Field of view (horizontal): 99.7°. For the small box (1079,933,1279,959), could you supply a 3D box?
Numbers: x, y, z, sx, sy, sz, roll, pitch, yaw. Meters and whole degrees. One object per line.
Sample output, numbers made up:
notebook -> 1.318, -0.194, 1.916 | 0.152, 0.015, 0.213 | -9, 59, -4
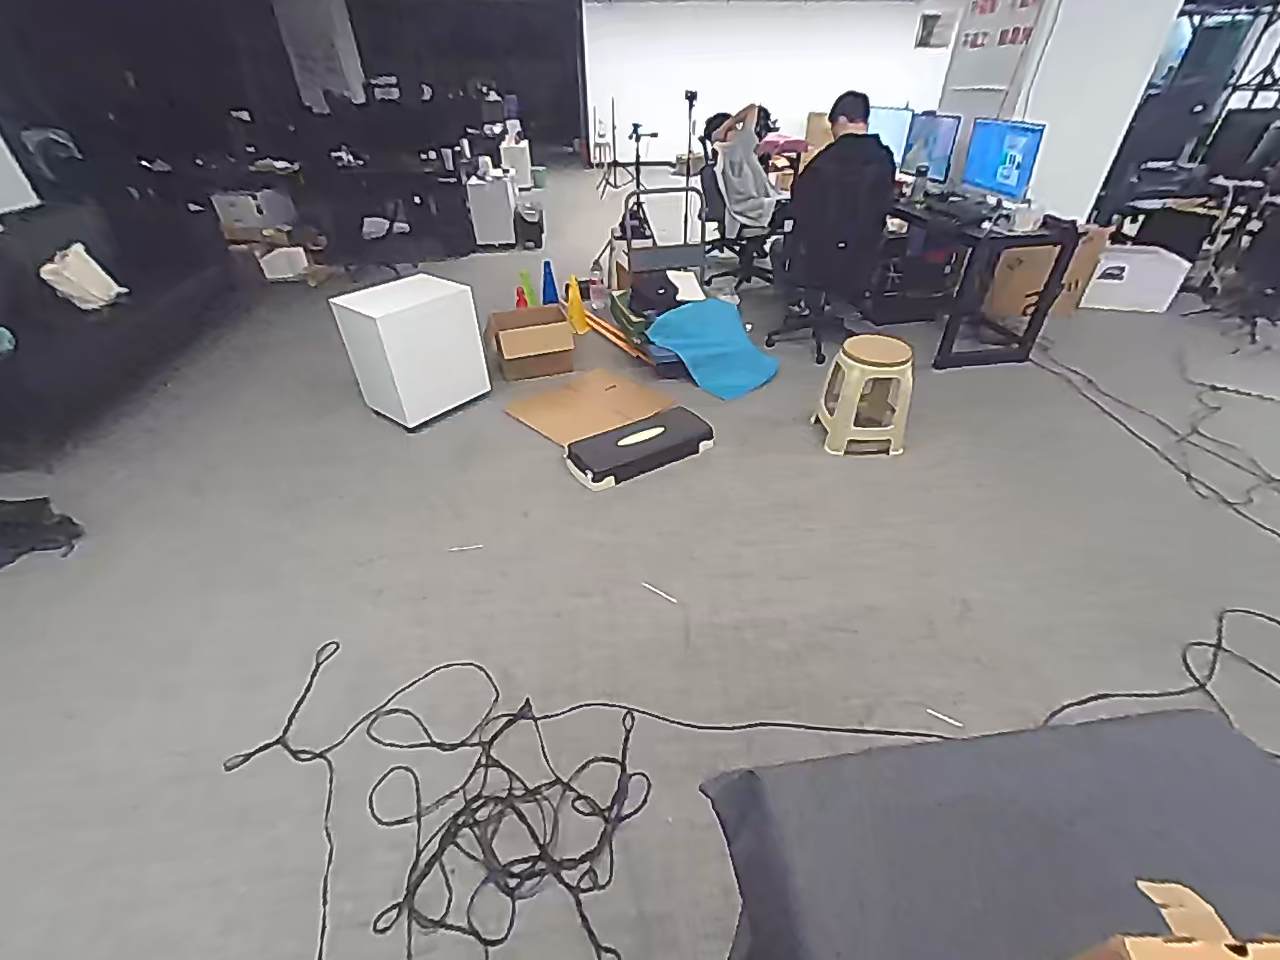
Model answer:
small box -> 0.435, 0.452, 0.378 | 0.168, 0.176, 0.179 | 0, 36, 0
